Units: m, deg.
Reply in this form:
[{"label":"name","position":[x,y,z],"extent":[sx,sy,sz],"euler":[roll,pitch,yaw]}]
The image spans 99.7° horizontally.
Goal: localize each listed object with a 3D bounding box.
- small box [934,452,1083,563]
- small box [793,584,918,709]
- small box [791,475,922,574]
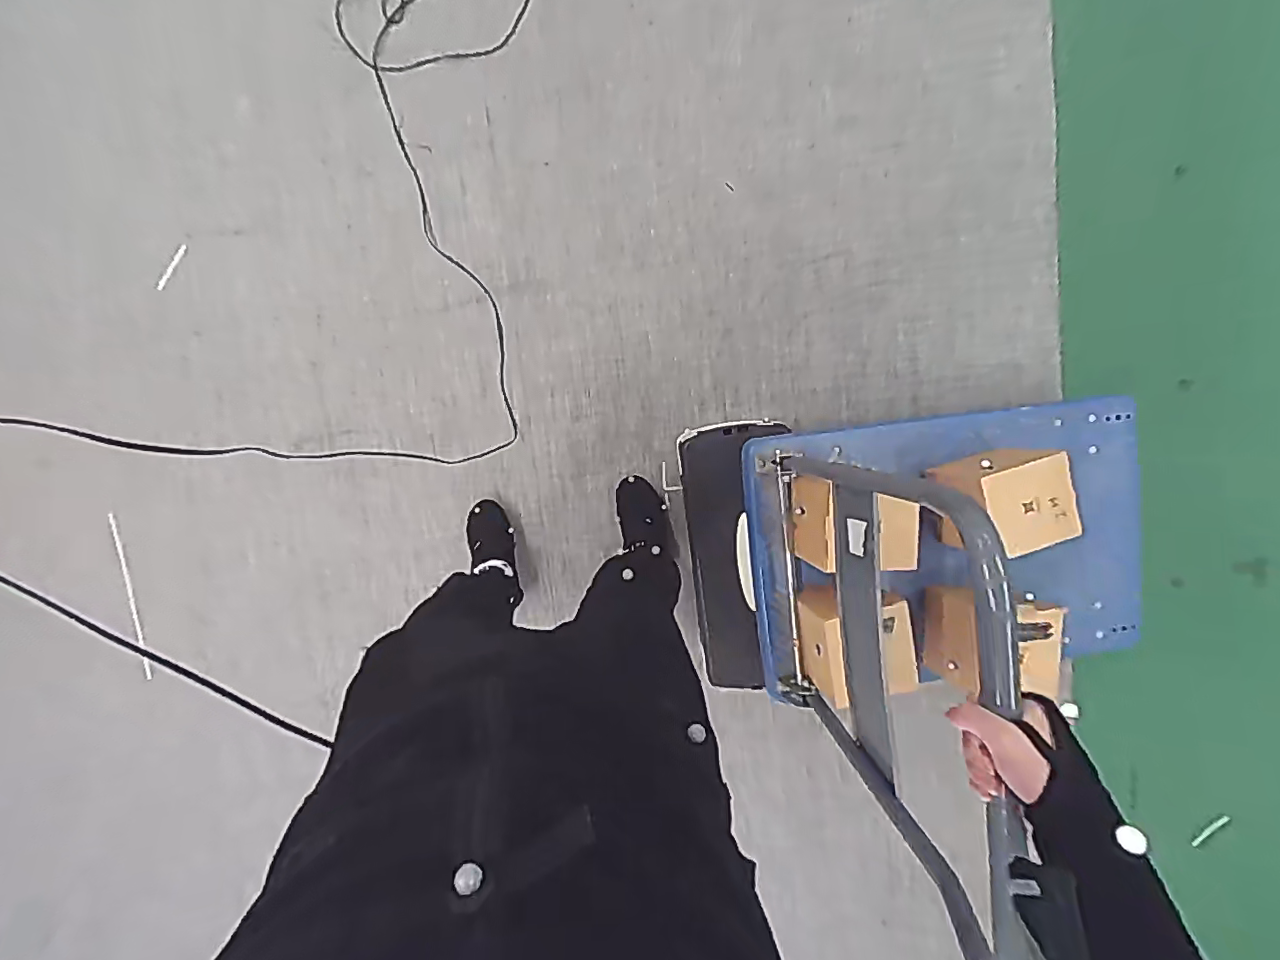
[{"label":"small box","position":[0.712,0.047,1.069],"extent":[0.179,0.176,0.168],"euler":[-16,97,-4]},{"label":"small box","position":[0.414,0.314,1.063],"extent":[0.168,0.176,0.179],"euler":[-10,97,-4]},{"label":"small box","position":[0.409,0.079,1.044],"extent":[0.179,0.176,0.168],"euler":[-1,96,-5]}]
